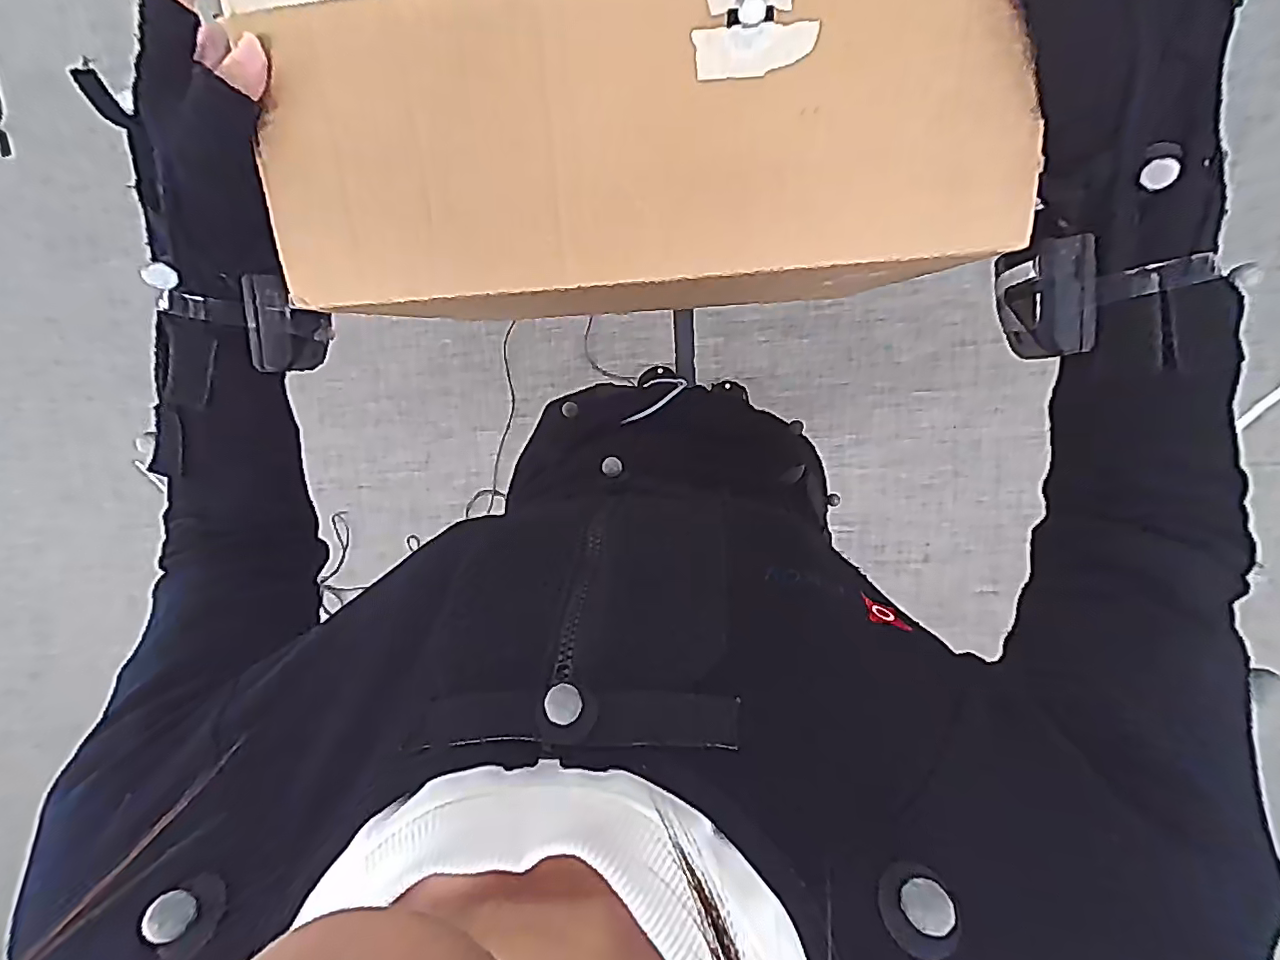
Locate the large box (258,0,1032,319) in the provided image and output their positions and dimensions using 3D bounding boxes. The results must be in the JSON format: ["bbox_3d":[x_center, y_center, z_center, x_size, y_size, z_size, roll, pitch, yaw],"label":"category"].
[{"bbox_3d":[0.002,-0.306,0.414,0.408,0.320,0.320,-3,105,6],"label":"large box"}]
